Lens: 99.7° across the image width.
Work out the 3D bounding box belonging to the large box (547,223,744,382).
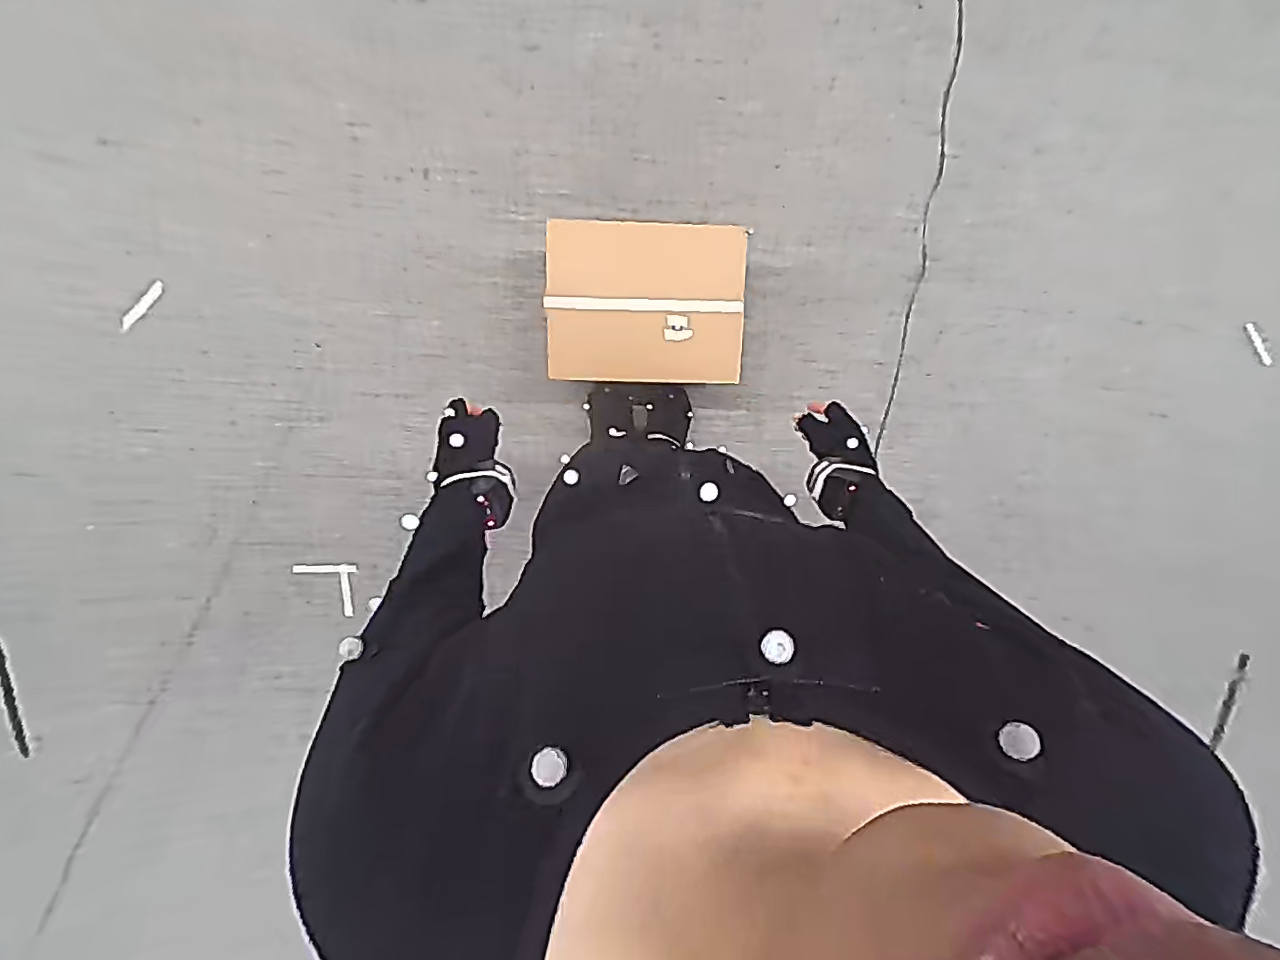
[{"bbox_3d":[0.004,-0.393,1.262,0.408,0.320,0.320,0,103,-3],"label":"large box"}]
